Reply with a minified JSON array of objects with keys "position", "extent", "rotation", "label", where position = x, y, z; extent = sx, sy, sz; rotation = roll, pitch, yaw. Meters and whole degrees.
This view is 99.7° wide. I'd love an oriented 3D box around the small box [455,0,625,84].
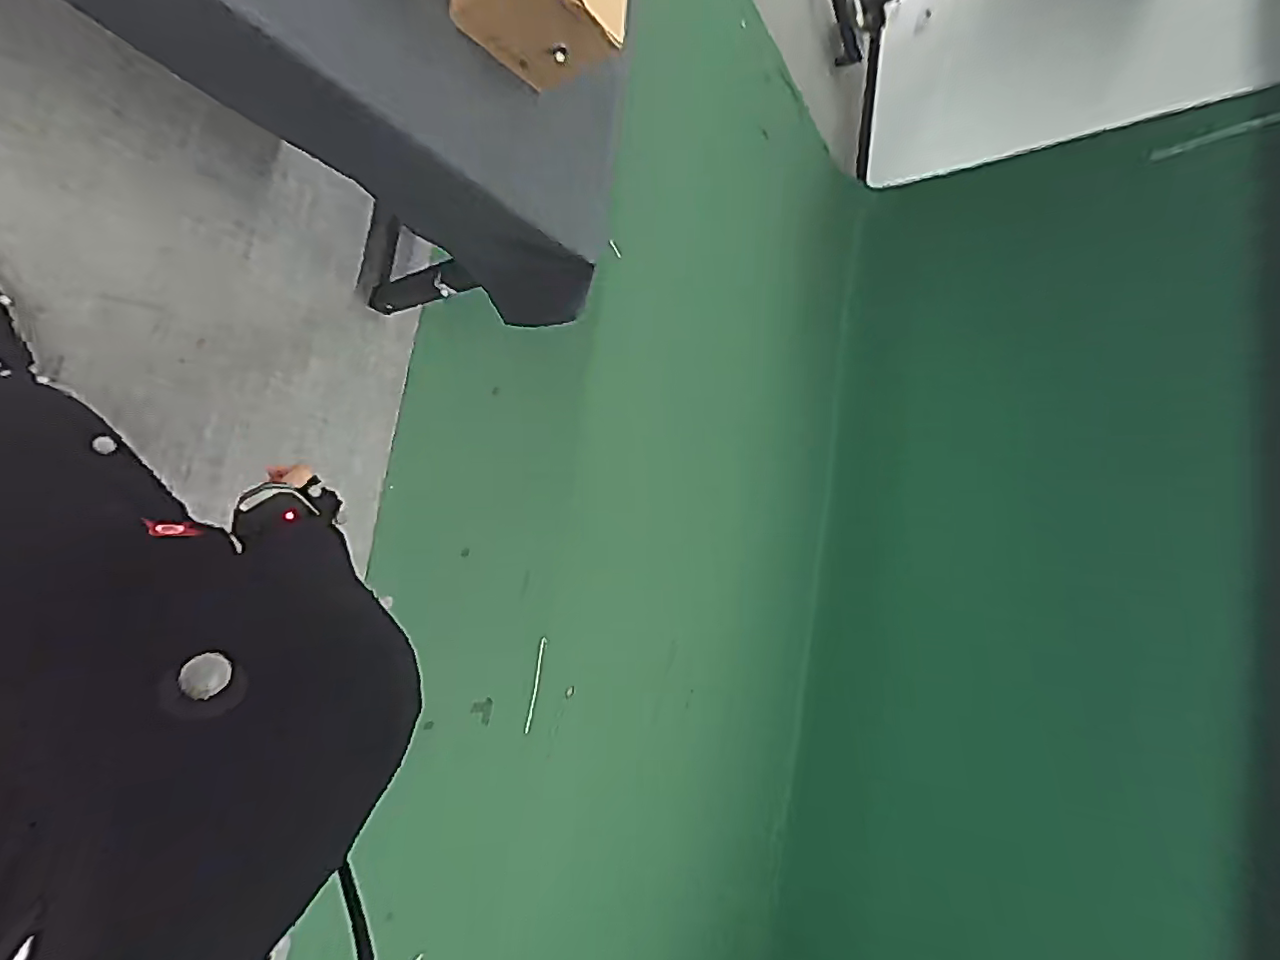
[{"position":[-0.133,-0.683,0.720],"extent":[0.168,0.176,0.179],"rotation":[5,88,-53],"label":"small box"}]
